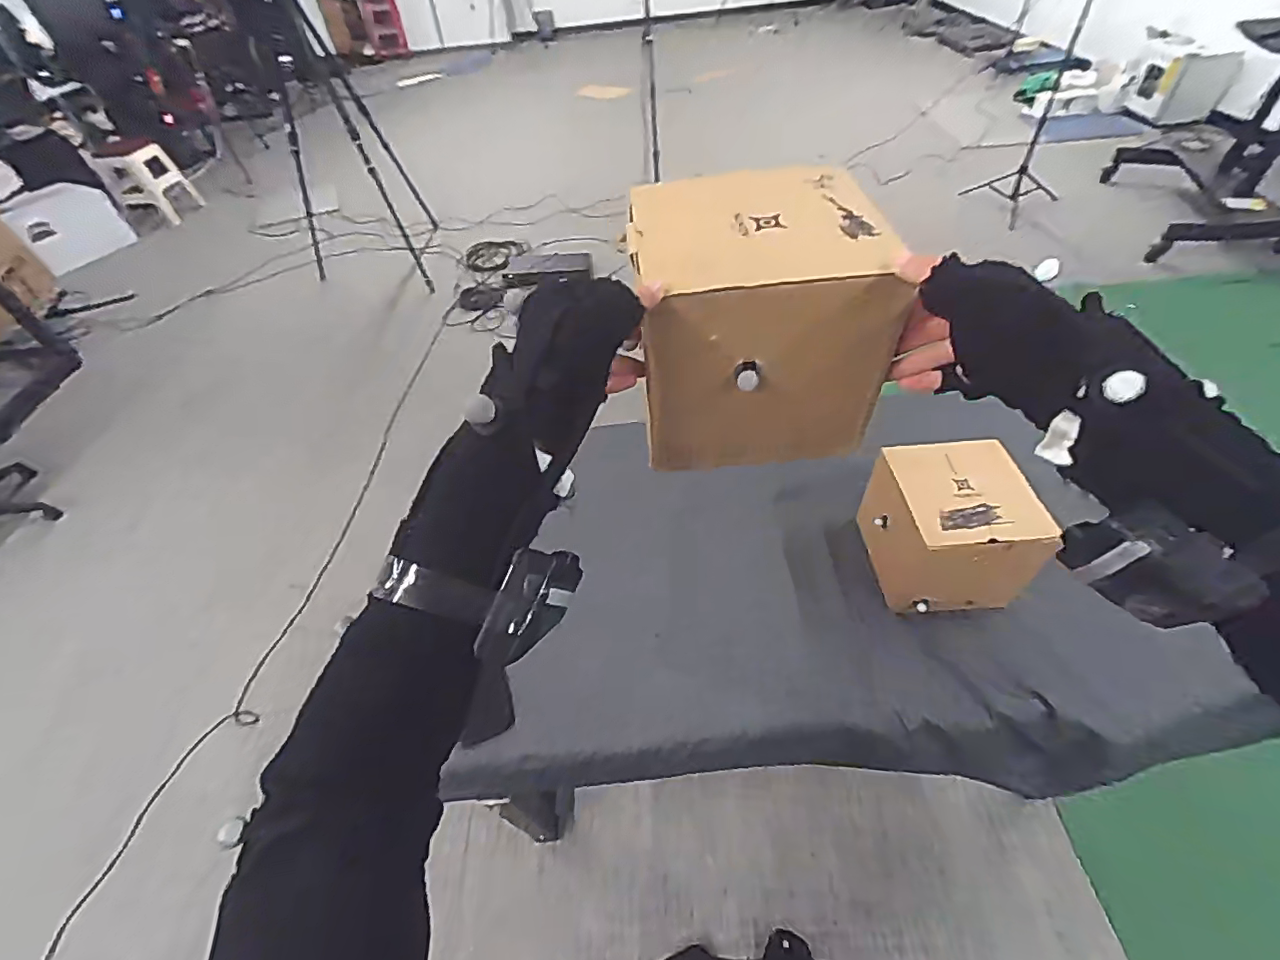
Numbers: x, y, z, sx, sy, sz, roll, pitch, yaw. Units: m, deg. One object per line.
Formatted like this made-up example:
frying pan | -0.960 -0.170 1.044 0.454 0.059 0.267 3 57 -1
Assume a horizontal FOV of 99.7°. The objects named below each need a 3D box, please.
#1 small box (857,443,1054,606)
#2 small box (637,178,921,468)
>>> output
small box | 0.433 0.070 0.779 0.168 0.176 0.179 -4 47 2
small box | 0.094 -0.124 0.451 0.179 0.176 0.168 -5 50 1
